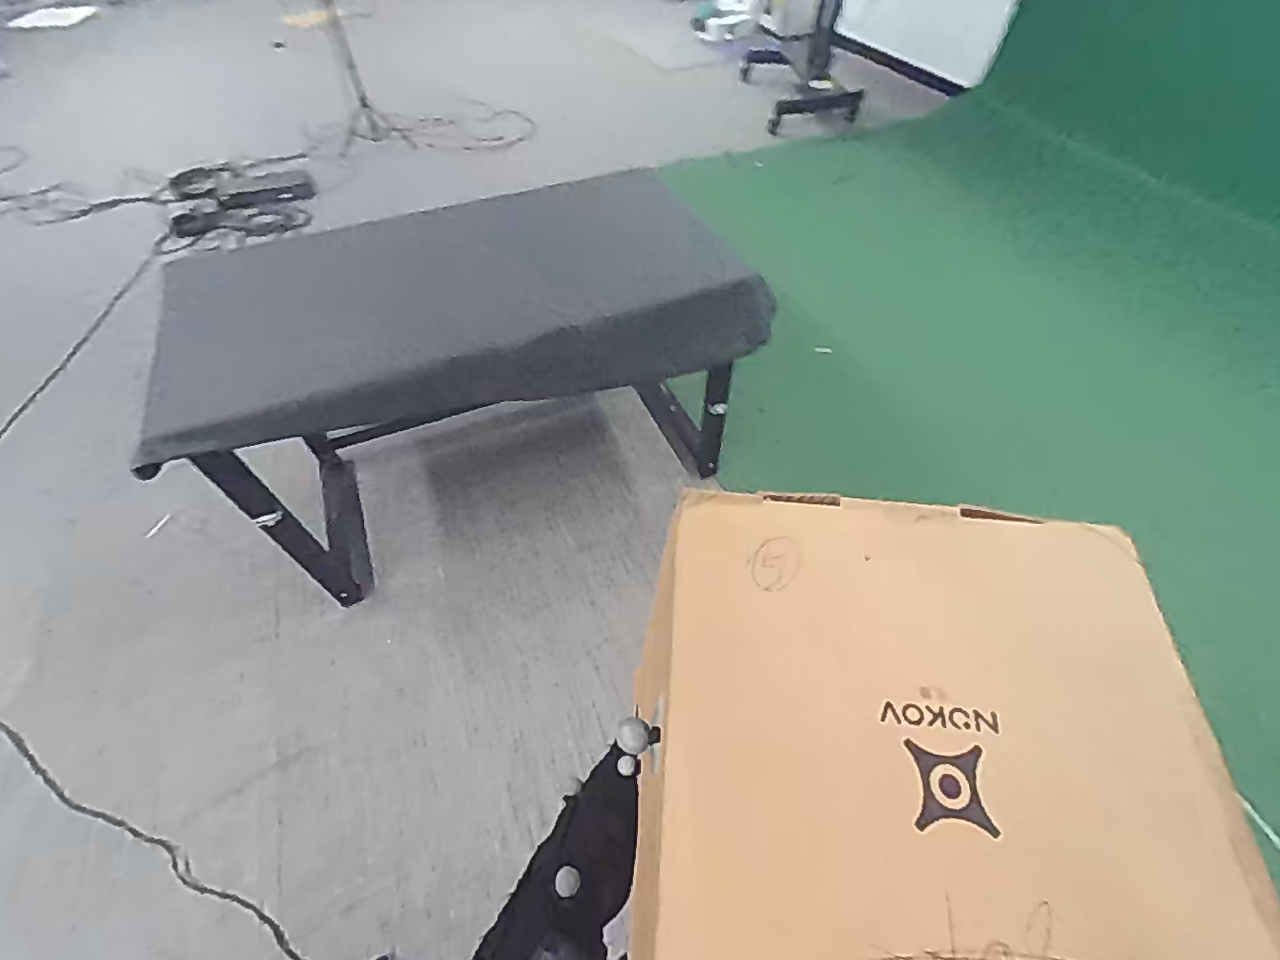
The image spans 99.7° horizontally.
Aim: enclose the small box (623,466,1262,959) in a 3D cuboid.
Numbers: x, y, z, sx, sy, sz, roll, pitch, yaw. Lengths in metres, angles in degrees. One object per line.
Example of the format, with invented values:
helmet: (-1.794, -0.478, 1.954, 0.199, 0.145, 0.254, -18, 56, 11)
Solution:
small box: (0.081, 0.115, 0.237, 0.168, 0.176, 0.179, 4, 61, 1)
